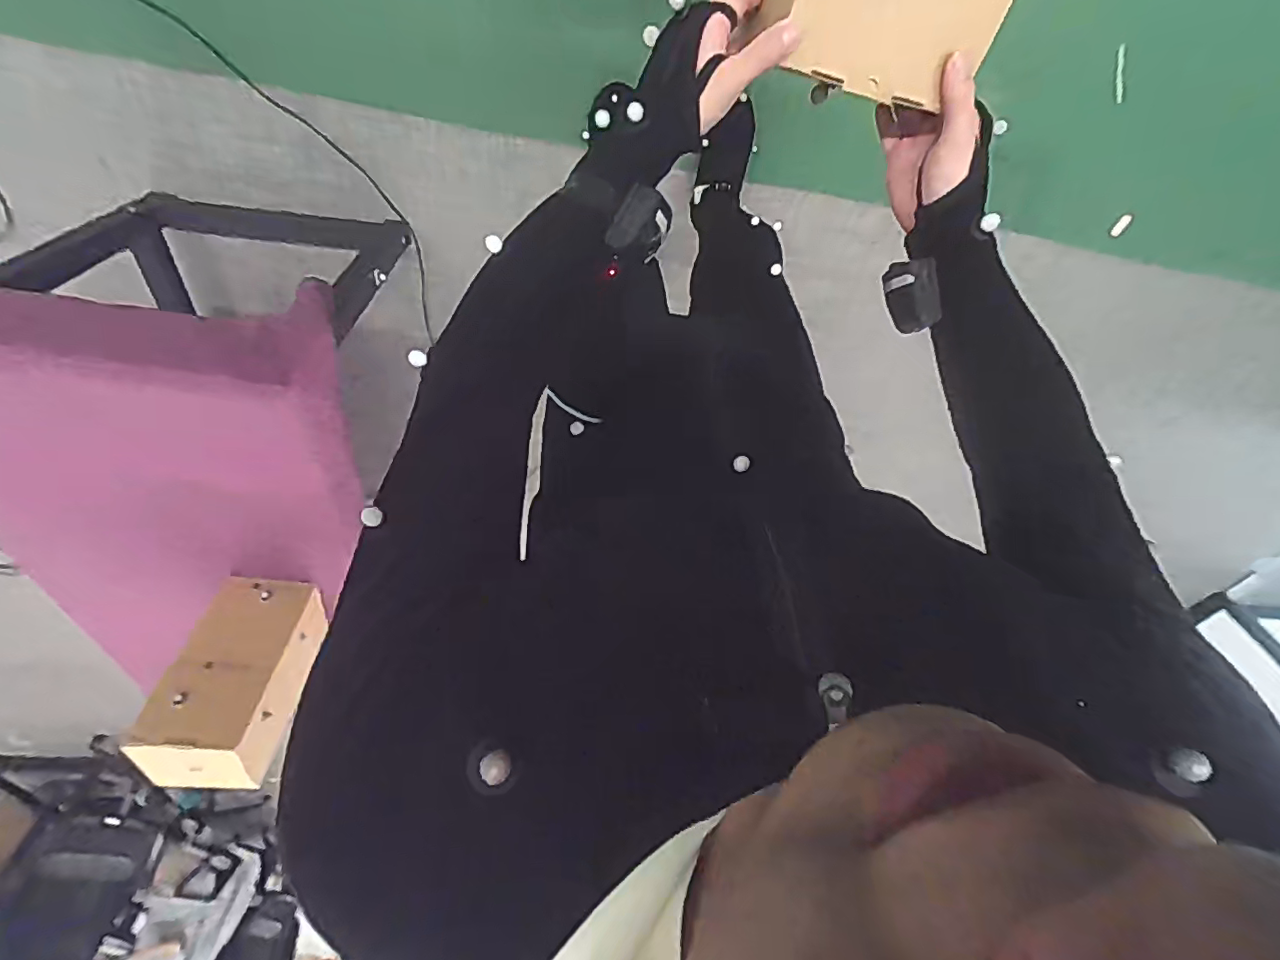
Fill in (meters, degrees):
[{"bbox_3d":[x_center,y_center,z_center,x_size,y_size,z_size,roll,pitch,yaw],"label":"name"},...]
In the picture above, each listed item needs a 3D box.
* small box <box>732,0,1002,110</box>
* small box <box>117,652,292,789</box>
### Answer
[{"bbox_3d":[0.187,-0.432,0.437,0.168,0.176,0.179,6,130,-14],"label":"small box"},{"bbox_3d":[-0.749,0.424,0.956,0.168,0.176,0.179,9,131,-11],"label":"small box"}]
